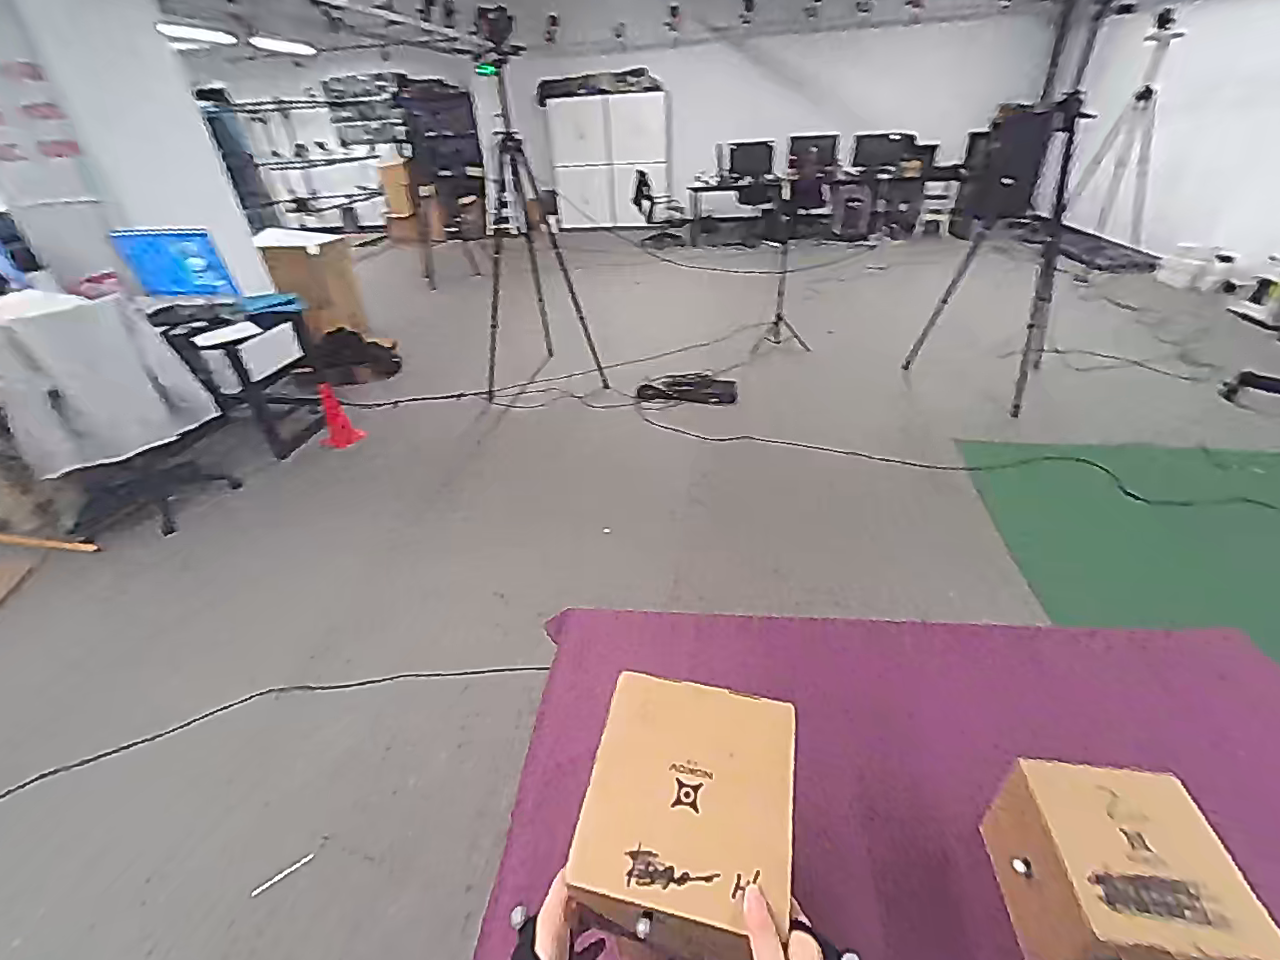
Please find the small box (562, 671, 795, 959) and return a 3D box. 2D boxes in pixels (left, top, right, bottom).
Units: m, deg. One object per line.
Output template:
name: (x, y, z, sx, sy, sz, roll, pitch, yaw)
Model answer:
small box: (0.044, 0.309, 0.494, 0.168, 0.176, 0.179, 6, 43, 13)
